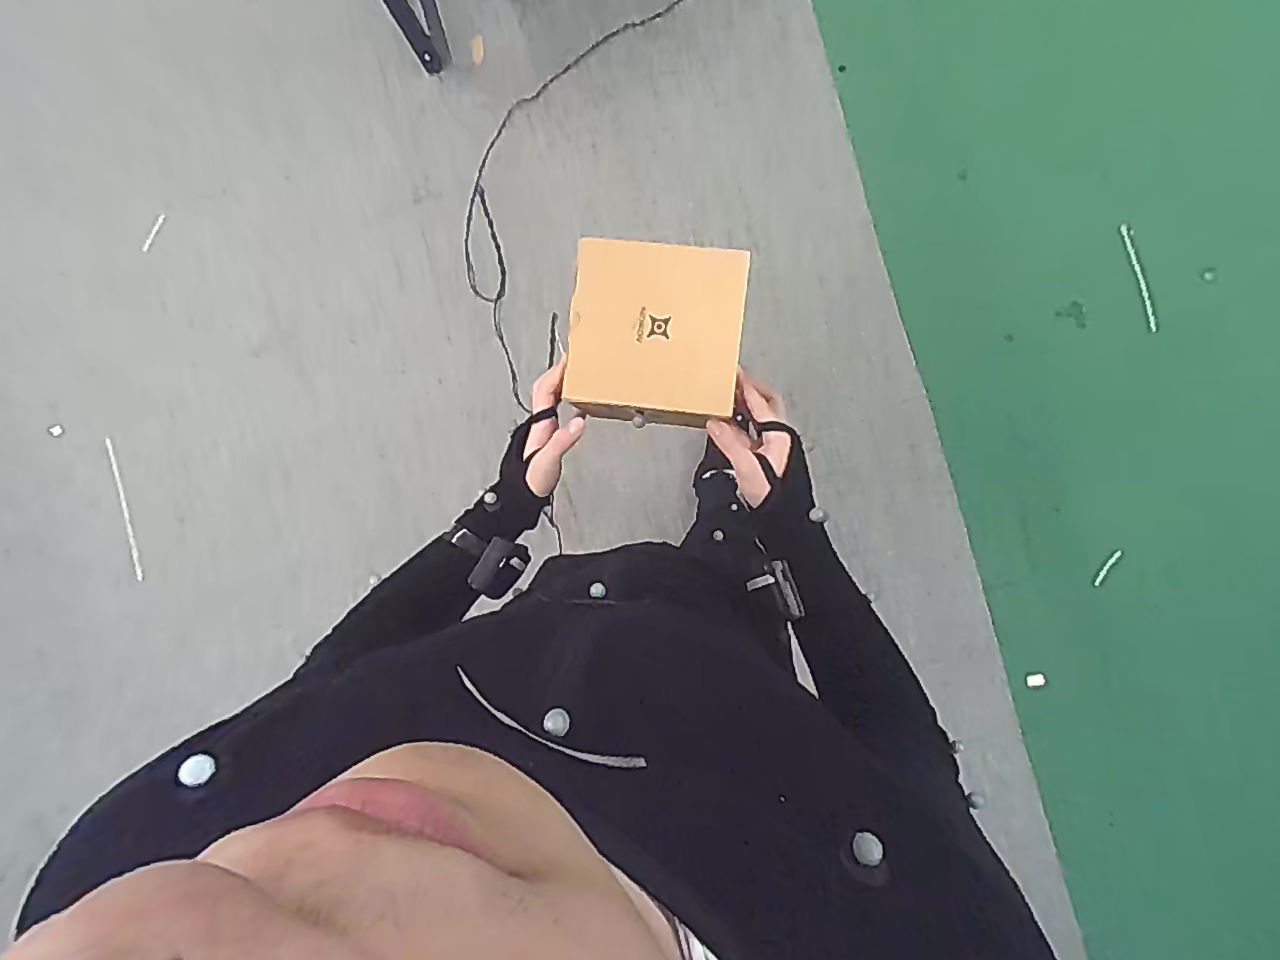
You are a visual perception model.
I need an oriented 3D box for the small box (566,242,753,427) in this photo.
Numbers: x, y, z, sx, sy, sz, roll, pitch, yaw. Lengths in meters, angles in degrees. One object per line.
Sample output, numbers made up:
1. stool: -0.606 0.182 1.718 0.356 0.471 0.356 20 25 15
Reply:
1. small box: 0.025 -0.154 0.626 0.179 0.176 0.168 6 91 6
